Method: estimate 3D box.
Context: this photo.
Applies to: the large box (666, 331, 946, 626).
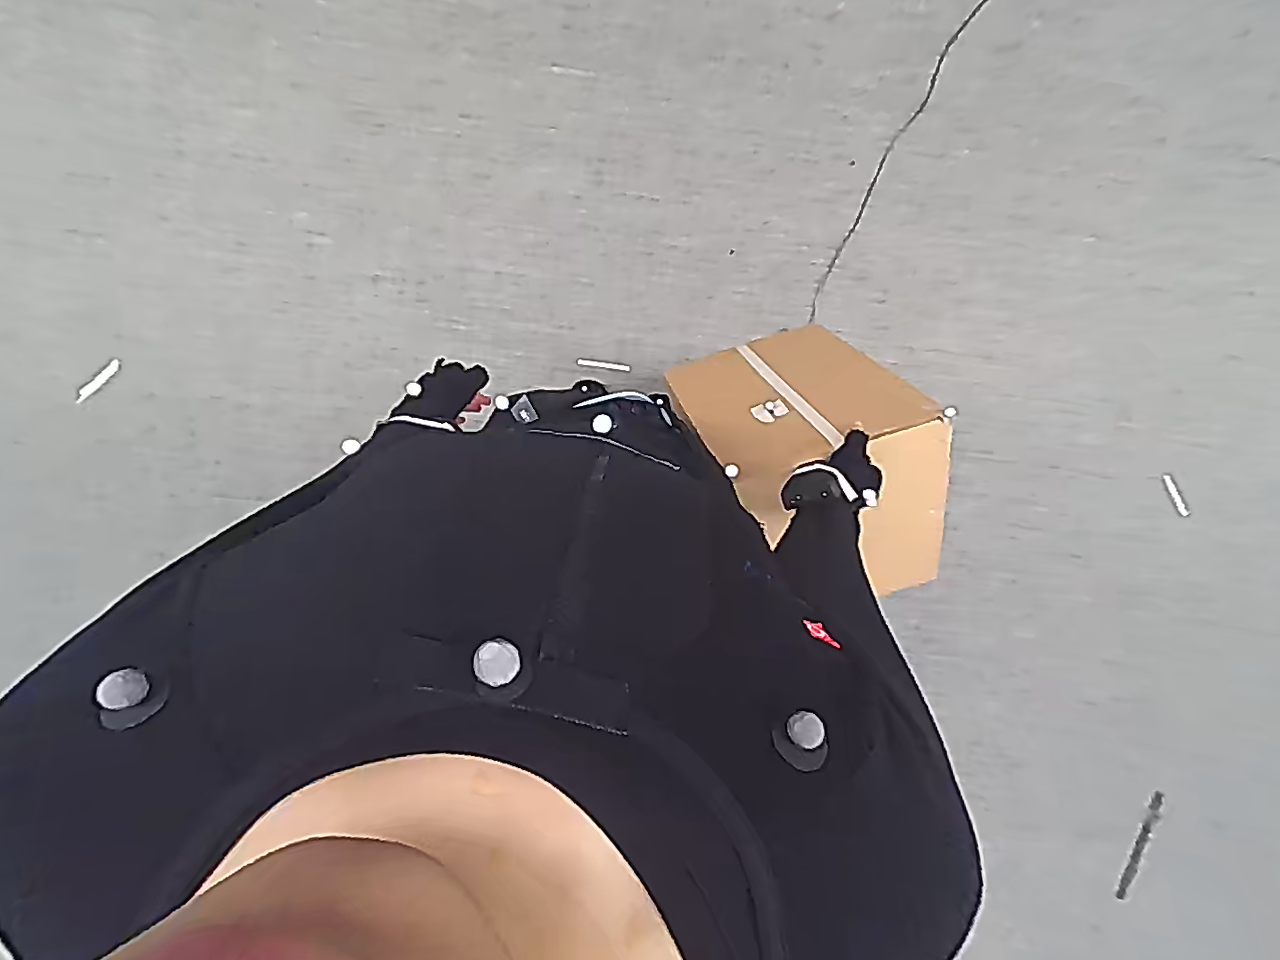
[{"bbox_3d":[0.264,-0.021,0.969,0.320,0.408,0.320,-17,126,0],"label":"large box"}]
